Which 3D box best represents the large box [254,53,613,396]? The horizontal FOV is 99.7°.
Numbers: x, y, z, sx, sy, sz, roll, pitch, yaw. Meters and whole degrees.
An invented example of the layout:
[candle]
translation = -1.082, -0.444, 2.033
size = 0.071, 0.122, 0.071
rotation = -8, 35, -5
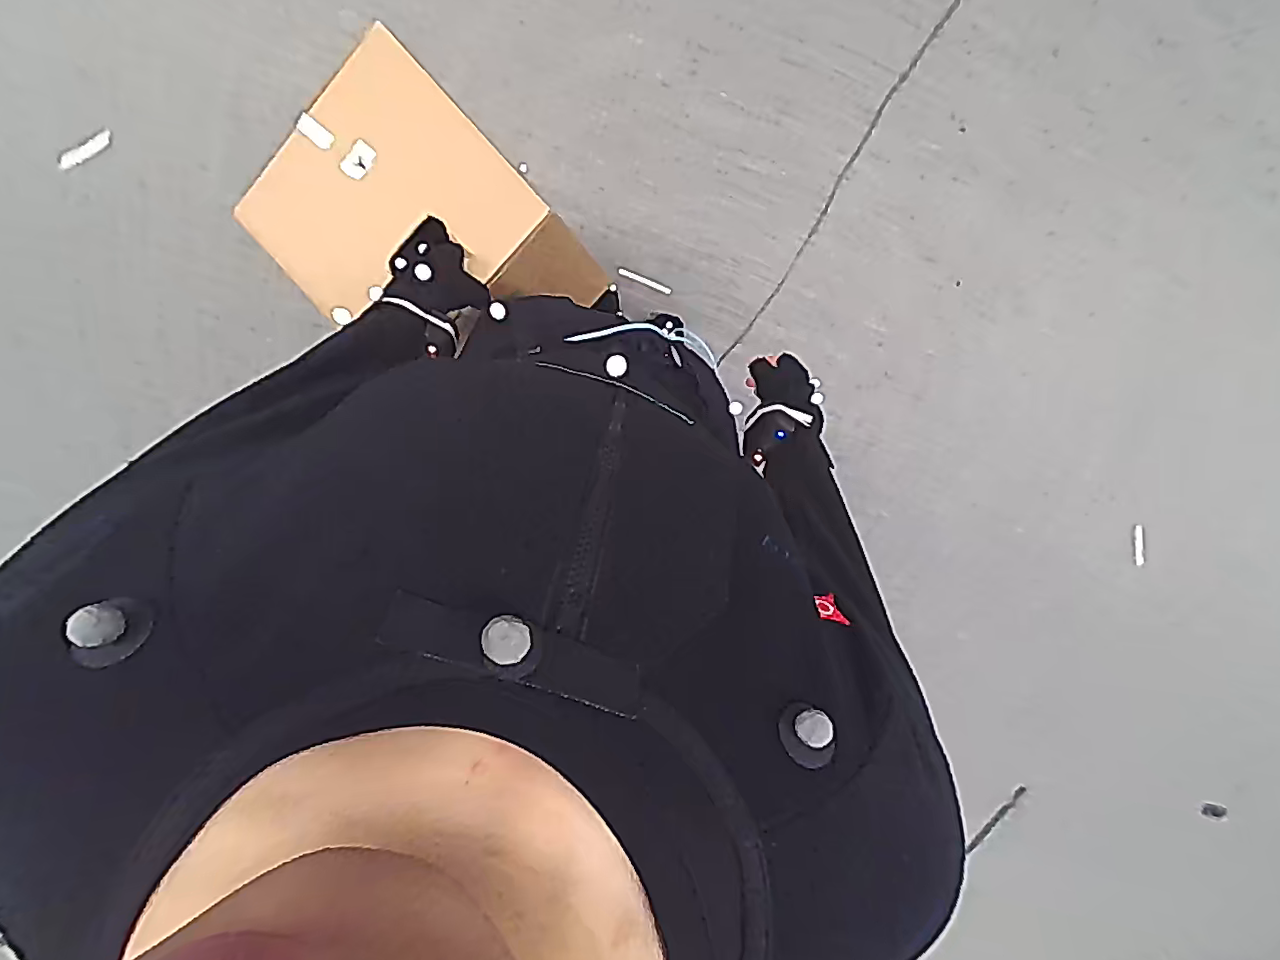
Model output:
[large box]
translation = -0.291, -0.358, 0.887
size = 0.320, 0.408, 0.320
rotation = -42, 92, 12
